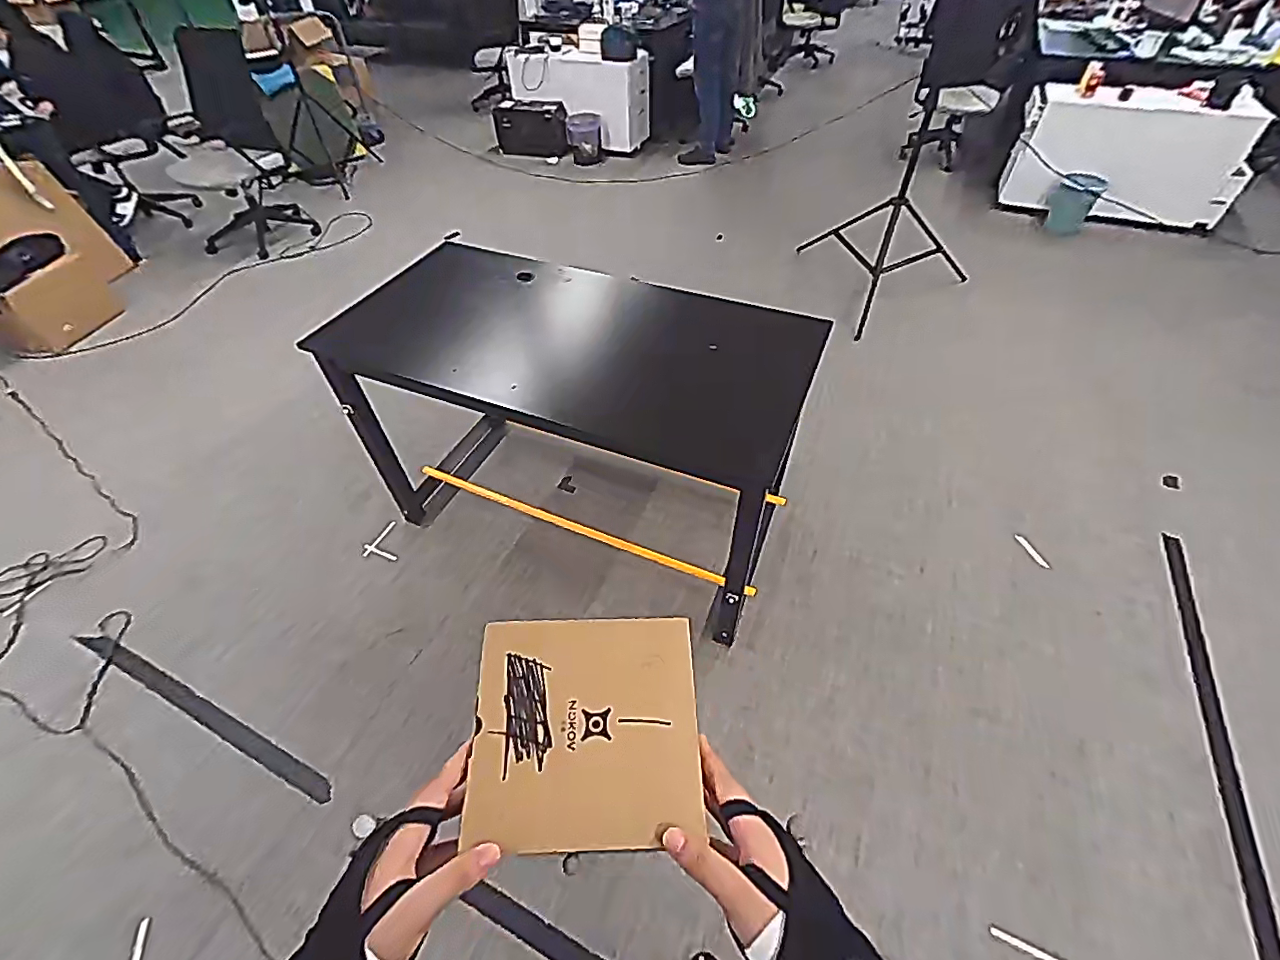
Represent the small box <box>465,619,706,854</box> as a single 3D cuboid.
[{"bbox_3d":[-0.039,0.238,0.493,0.179,0.176,0.168,-2,55,-1],"label":"small box"}]
